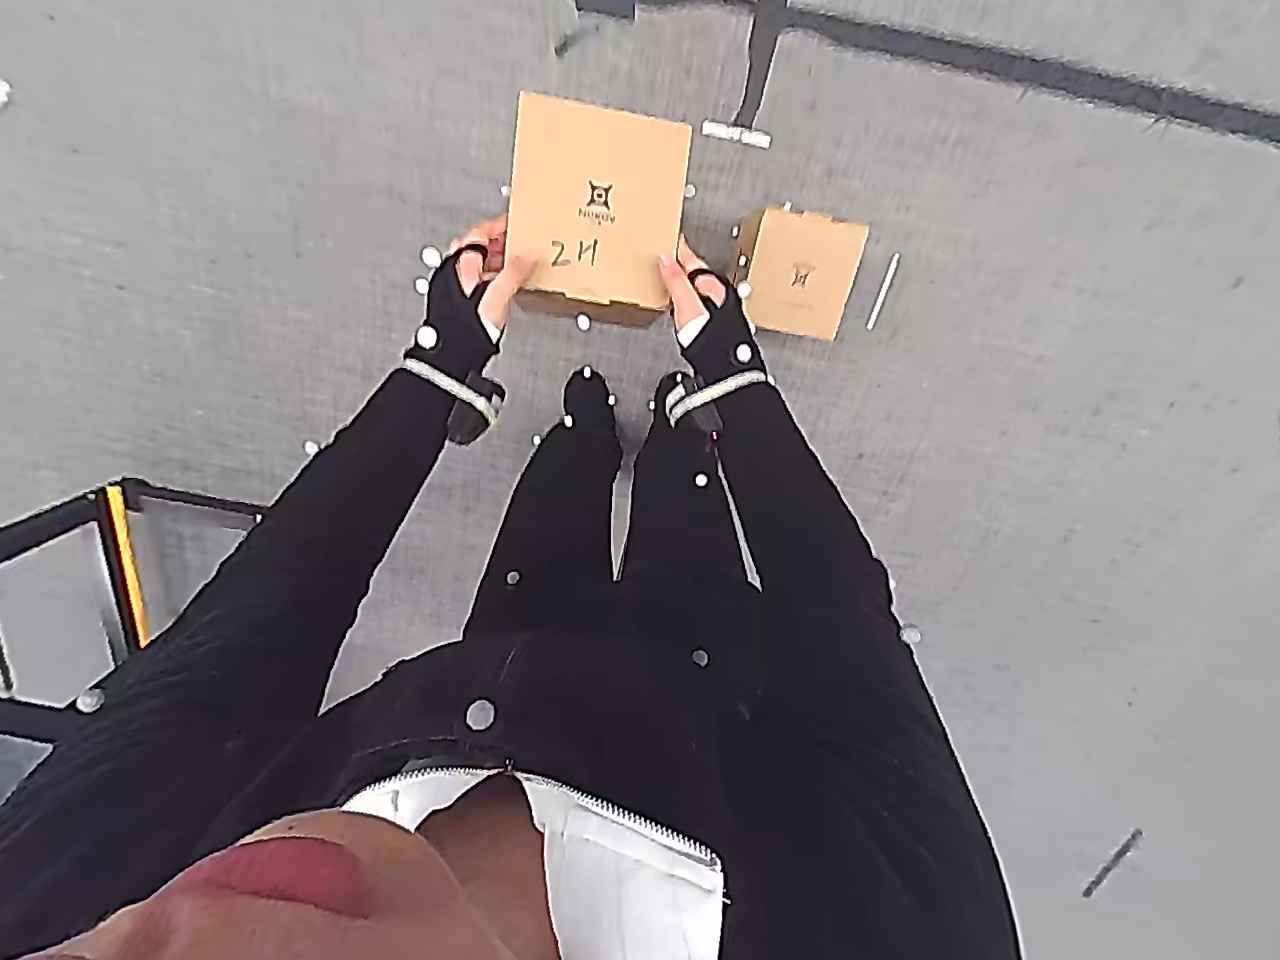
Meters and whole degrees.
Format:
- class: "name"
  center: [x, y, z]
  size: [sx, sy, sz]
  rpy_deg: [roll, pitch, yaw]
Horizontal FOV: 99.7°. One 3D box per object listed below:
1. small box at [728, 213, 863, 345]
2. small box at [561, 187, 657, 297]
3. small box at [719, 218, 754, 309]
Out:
- class: "small box"
  center: [0.255, -0.349, 0.935]
  size: [0.168, 0.176, 0.179]
  rpy_deg: [11, 114, -1]
- class: "small box"
  center: [-0.057, -0.471, 1.073]
  size: [0.168, 0.176, 0.179]
  rpy_deg: [6, 114, 0]
- class: "small box"
  center: [0.267, -0.410, 1.085]
  size: [0.179, 0.176, 0.168]
  rpy_deg: [14, 113, -4]
